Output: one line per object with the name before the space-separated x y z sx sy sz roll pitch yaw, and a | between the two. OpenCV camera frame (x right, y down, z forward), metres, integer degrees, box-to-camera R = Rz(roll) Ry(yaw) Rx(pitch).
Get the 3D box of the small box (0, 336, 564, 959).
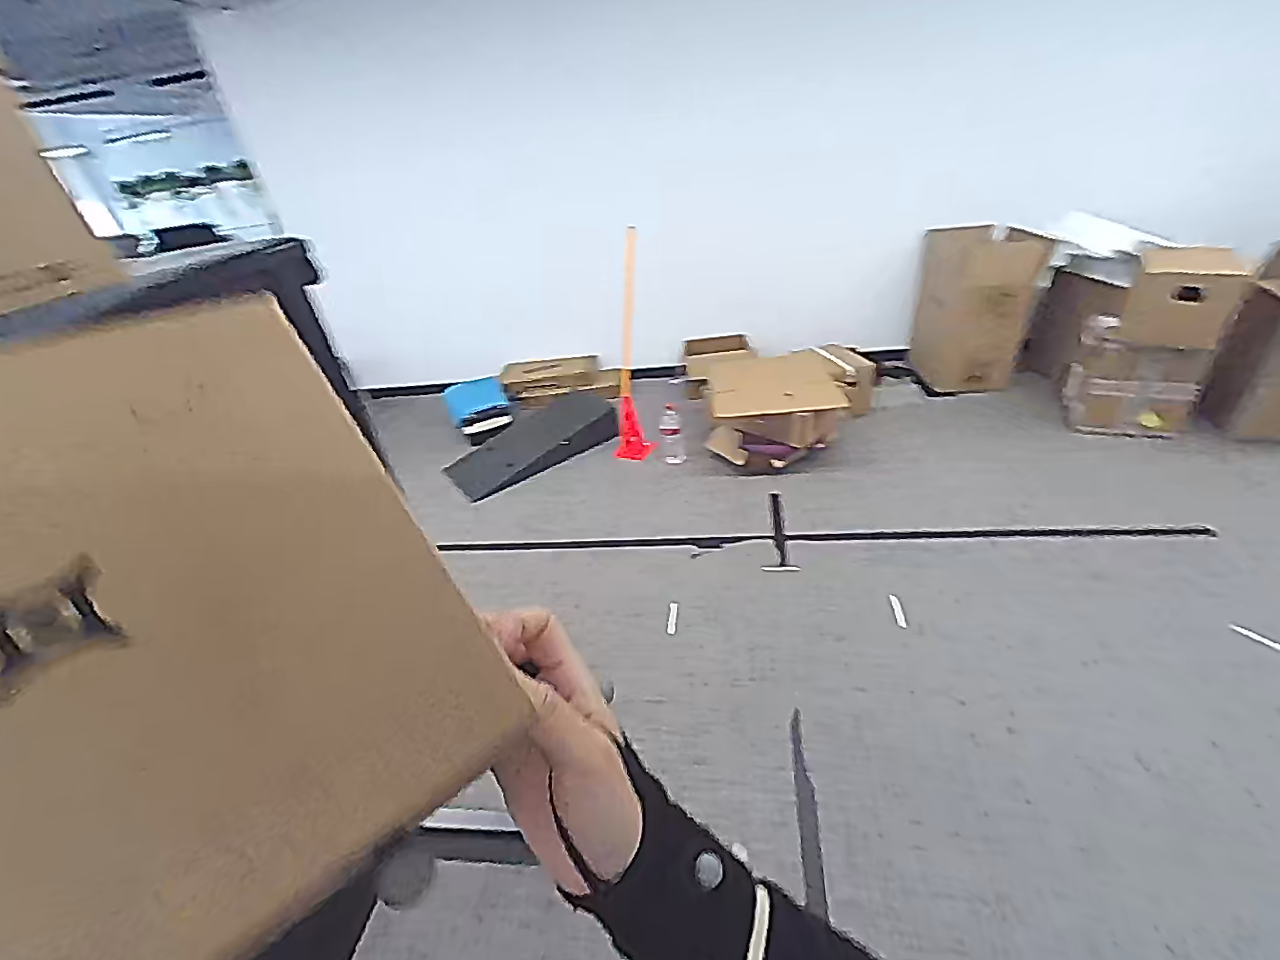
small box | -0.155 0.085 0.192 0.179 0.176 0.168 -29 73 -31
